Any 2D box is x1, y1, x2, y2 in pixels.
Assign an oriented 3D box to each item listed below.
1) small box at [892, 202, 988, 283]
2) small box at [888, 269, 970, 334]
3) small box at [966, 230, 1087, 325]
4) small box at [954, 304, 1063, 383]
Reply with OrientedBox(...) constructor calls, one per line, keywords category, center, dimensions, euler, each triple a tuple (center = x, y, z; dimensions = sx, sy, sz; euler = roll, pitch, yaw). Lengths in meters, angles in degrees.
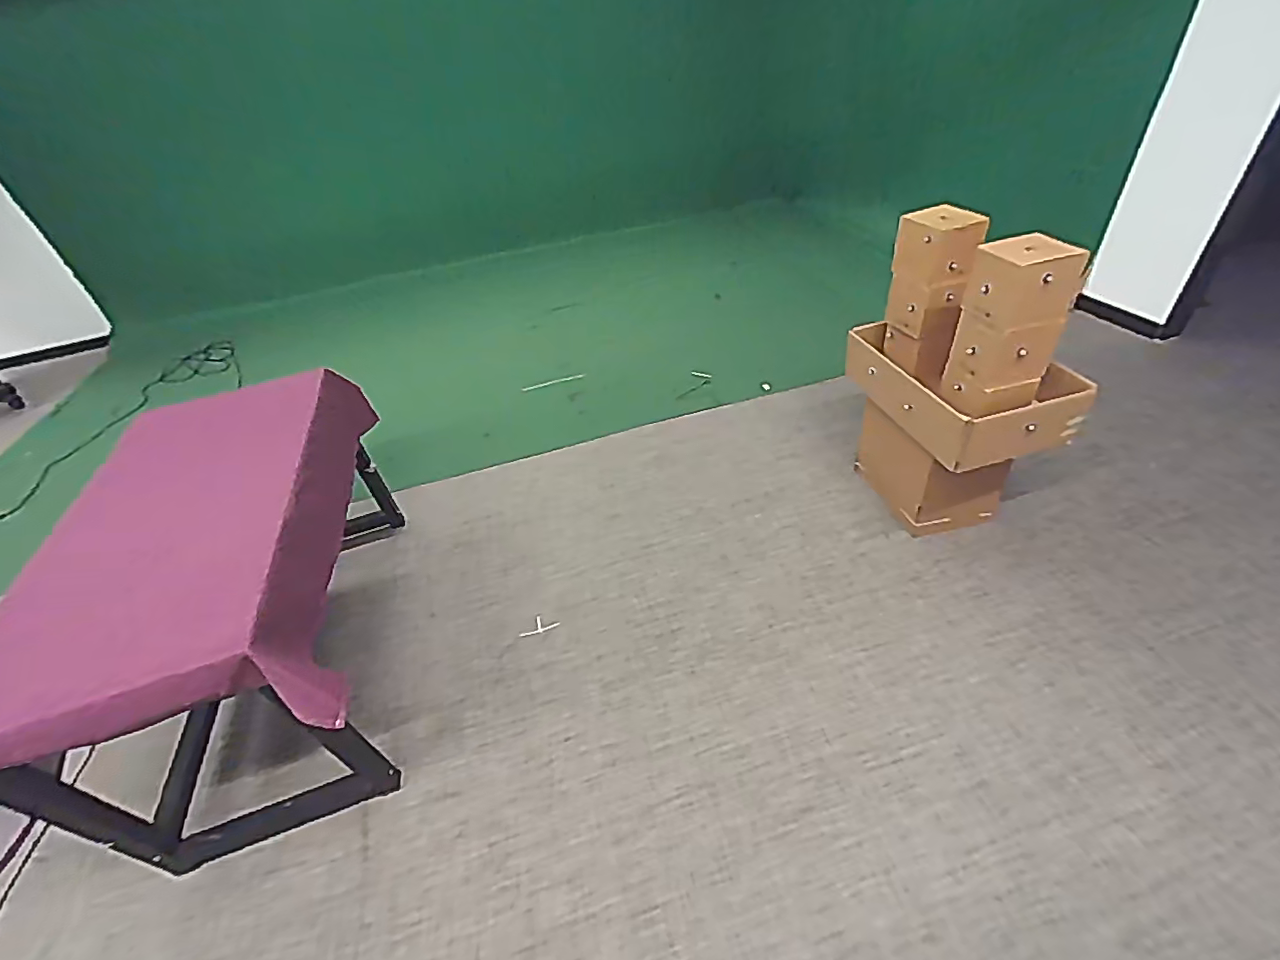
OrientedBox(category="small box", center=(0.890, -0.714, 1.625), dimensions=(0.168, 0.176, 0.179), euler=(-18, 42, -9))
OrientedBox(category="small box", center=(0.915, -0.584, 1.720), dimensions=(0.179, 0.176, 0.168), euler=(-17, 42, -9))
OrientedBox(category="small box", center=(0.963, -0.512, 1.372), dimensions=(0.179, 0.176, 0.168), euler=(-13, 41, -4))
OrientedBox(category="small box", center=(0.989, -0.385, 1.475), dimensions=(0.179, 0.176, 0.168), euler=(-14, 41, -3))
